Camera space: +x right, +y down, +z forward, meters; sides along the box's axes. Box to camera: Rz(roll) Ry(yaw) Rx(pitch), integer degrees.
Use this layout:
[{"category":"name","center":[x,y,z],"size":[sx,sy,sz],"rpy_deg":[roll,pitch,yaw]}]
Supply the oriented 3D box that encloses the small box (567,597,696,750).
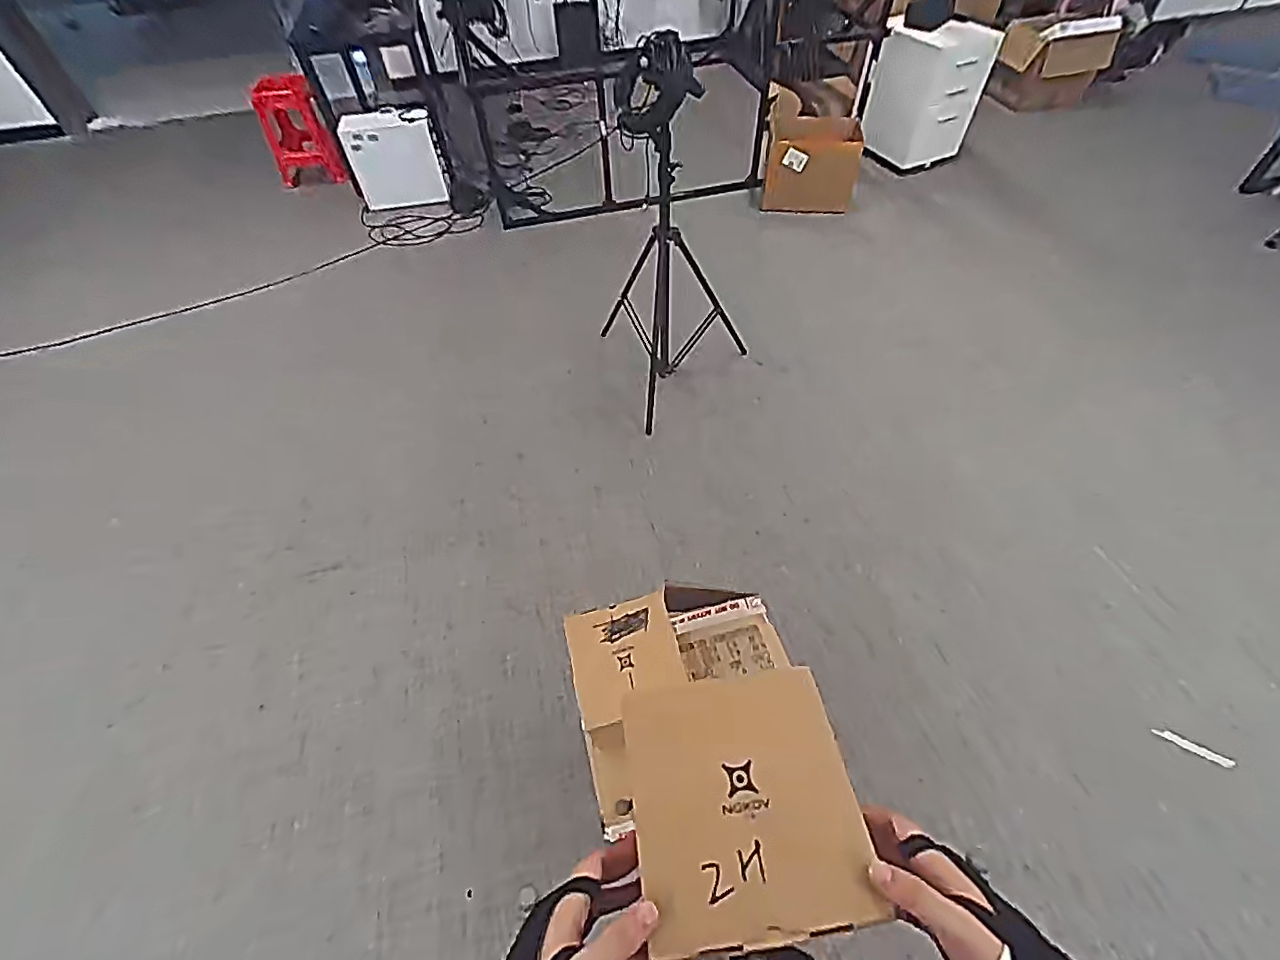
[{"category":"small box","center":[-0.015,0.322,0.891],"size":[0.168,0.176,0.179],"rpy_deg":[-15,56,-6]}]
